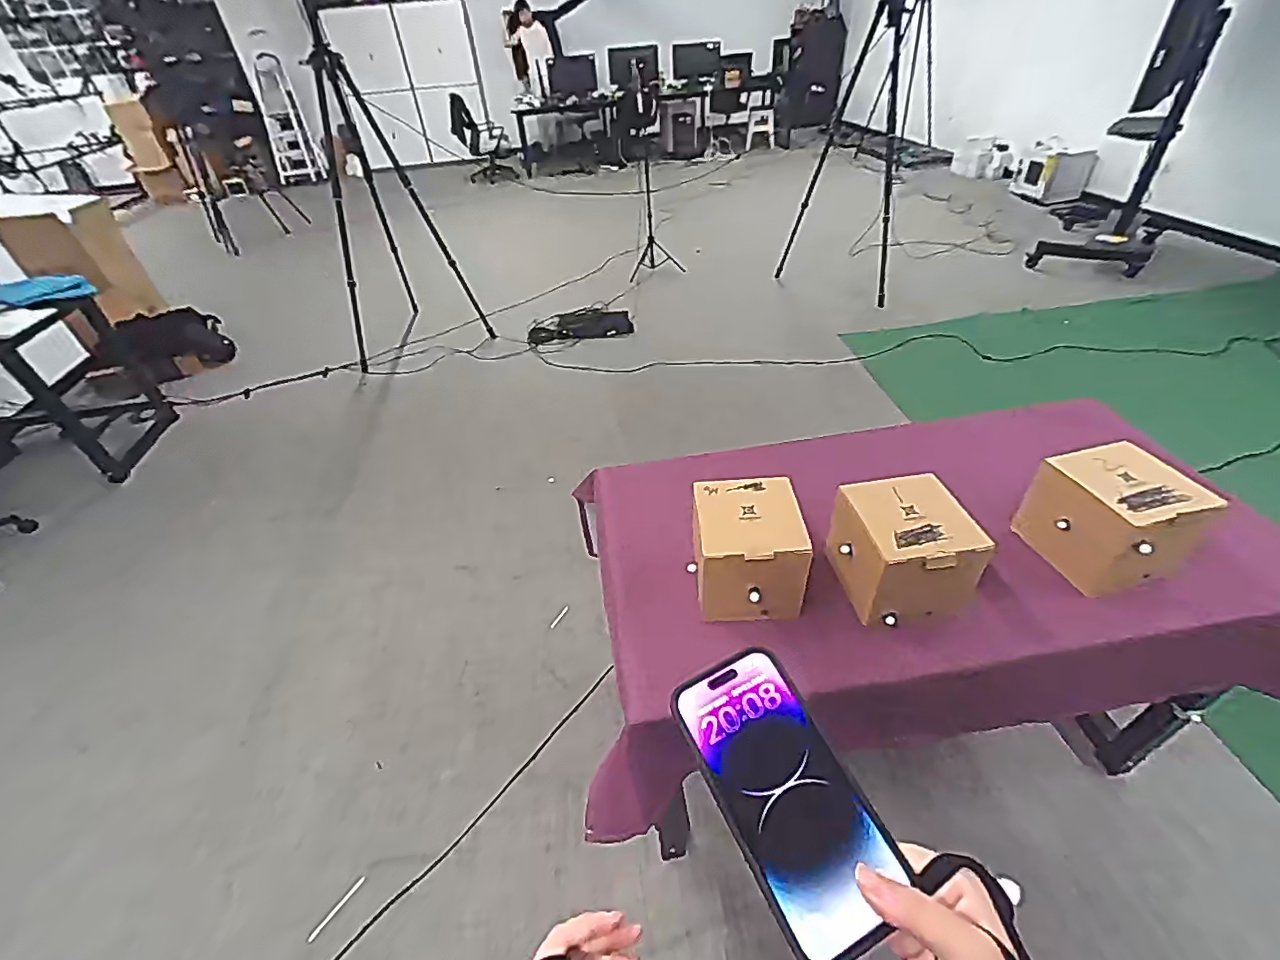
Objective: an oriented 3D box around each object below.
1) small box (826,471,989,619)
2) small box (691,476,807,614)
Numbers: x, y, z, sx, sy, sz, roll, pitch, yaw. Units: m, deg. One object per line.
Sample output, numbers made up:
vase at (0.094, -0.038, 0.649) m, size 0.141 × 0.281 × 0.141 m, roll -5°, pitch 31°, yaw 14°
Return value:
small box at (0.426, 0.112, 0.894) m, size 0.168 × 0.176 × 0.179 m, roll -8°, pitch 40°, yaw -3°
small box at (0.177, 0.115, 0.921) m, size 0.168 × 0.176 × 0.179 m, roll -4°, pitch 41°, yaw 3°
